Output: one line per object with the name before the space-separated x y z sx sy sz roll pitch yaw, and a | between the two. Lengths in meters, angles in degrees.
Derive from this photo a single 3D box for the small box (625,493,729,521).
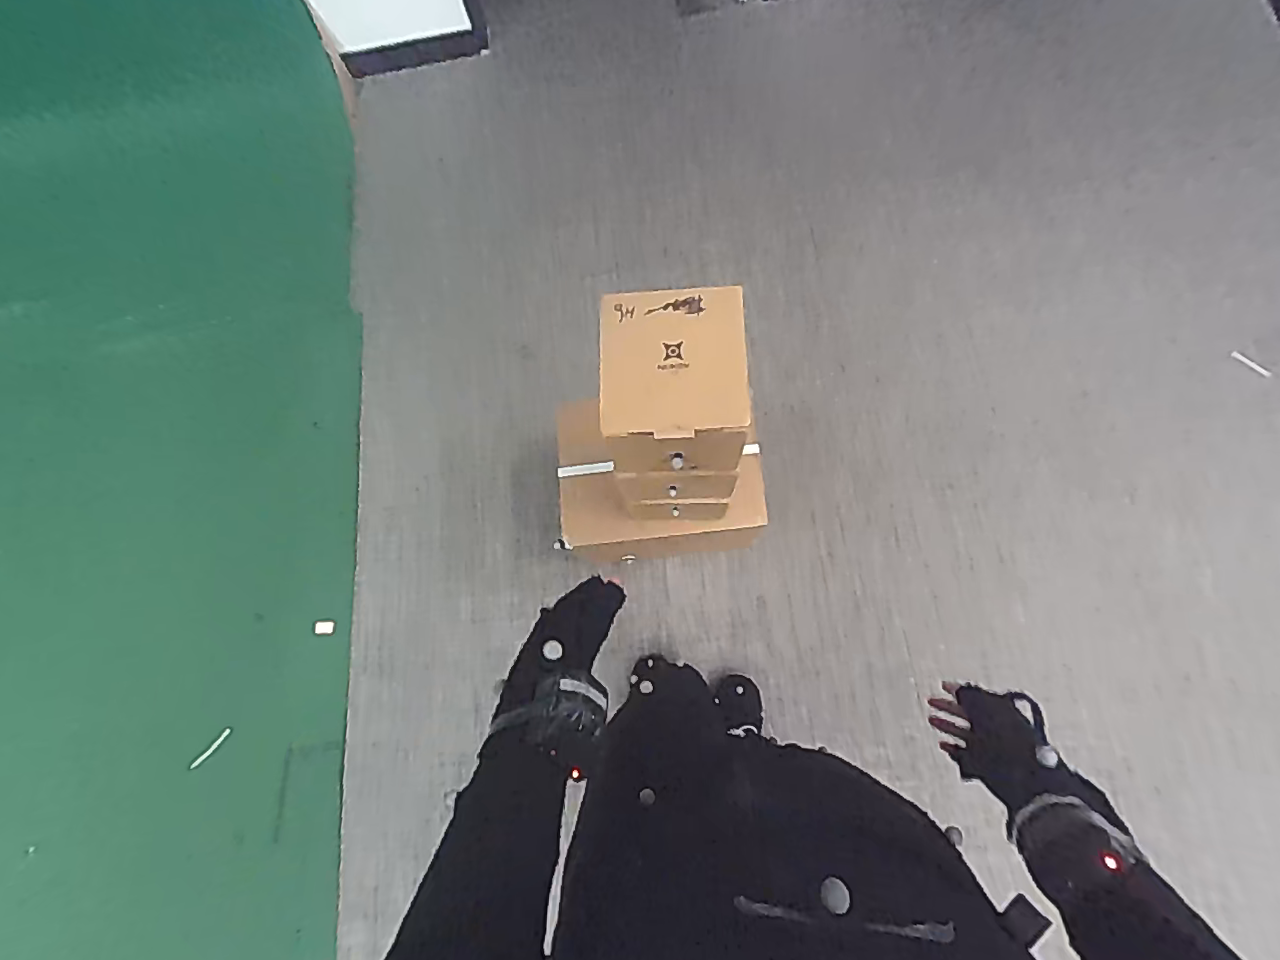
small box | 0.068 -0.017 0.995 0.179 0.176 0.168 -1 77 4

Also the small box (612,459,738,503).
small box | 0.056 -0.060 0.838 0.179 0.176 0.168 -2 77 7

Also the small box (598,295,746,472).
small box | 0.043 -0.108 0.681 0.168 0.176 0.179 -1 77 5
